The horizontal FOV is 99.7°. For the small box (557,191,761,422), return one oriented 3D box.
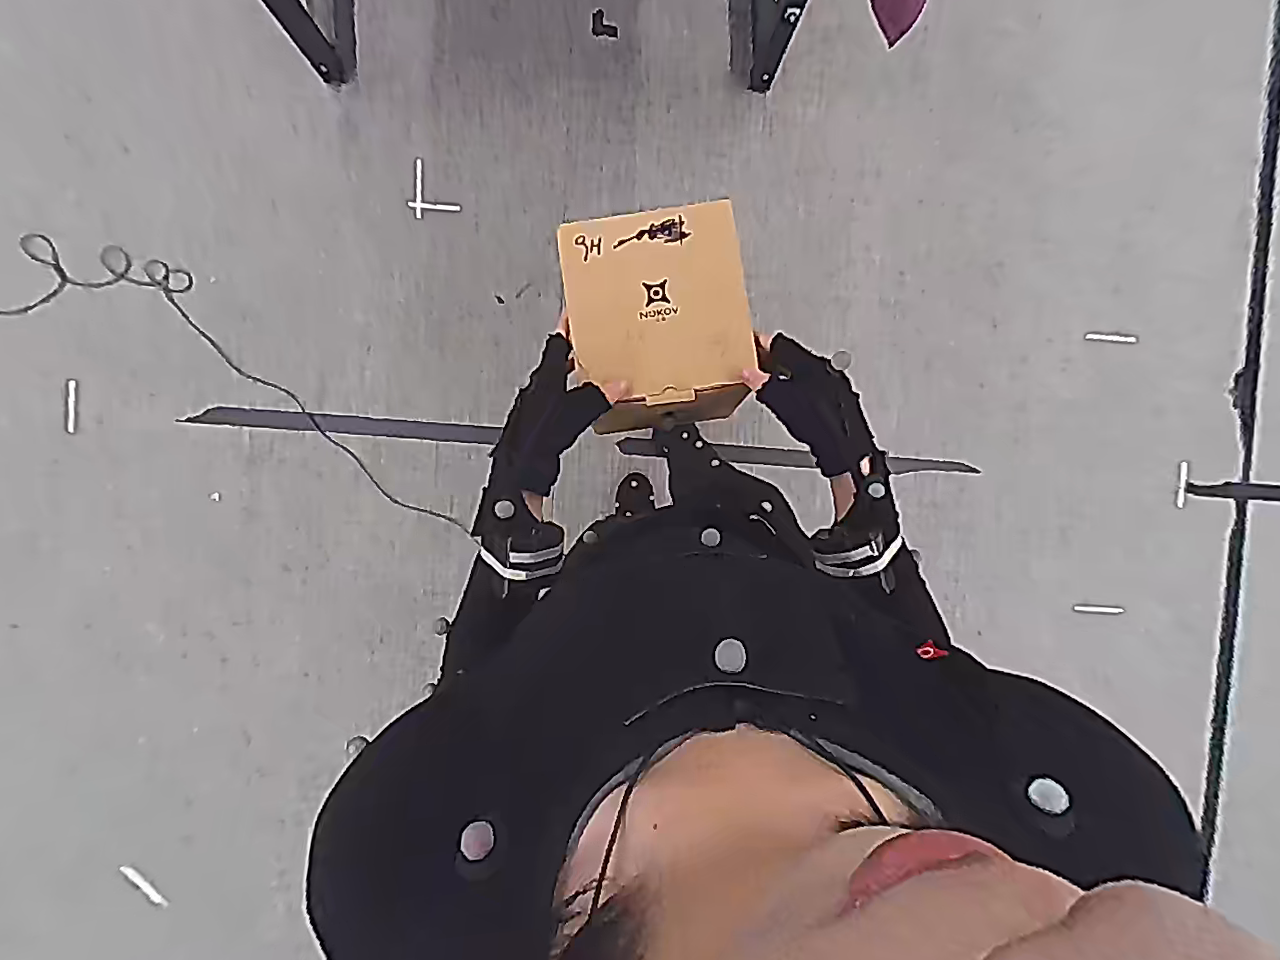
[{"bbox_3d":[0.018,-0.160,0.562,0.168,0.176,0.179,-8,87,0],"label":"small box"}]
